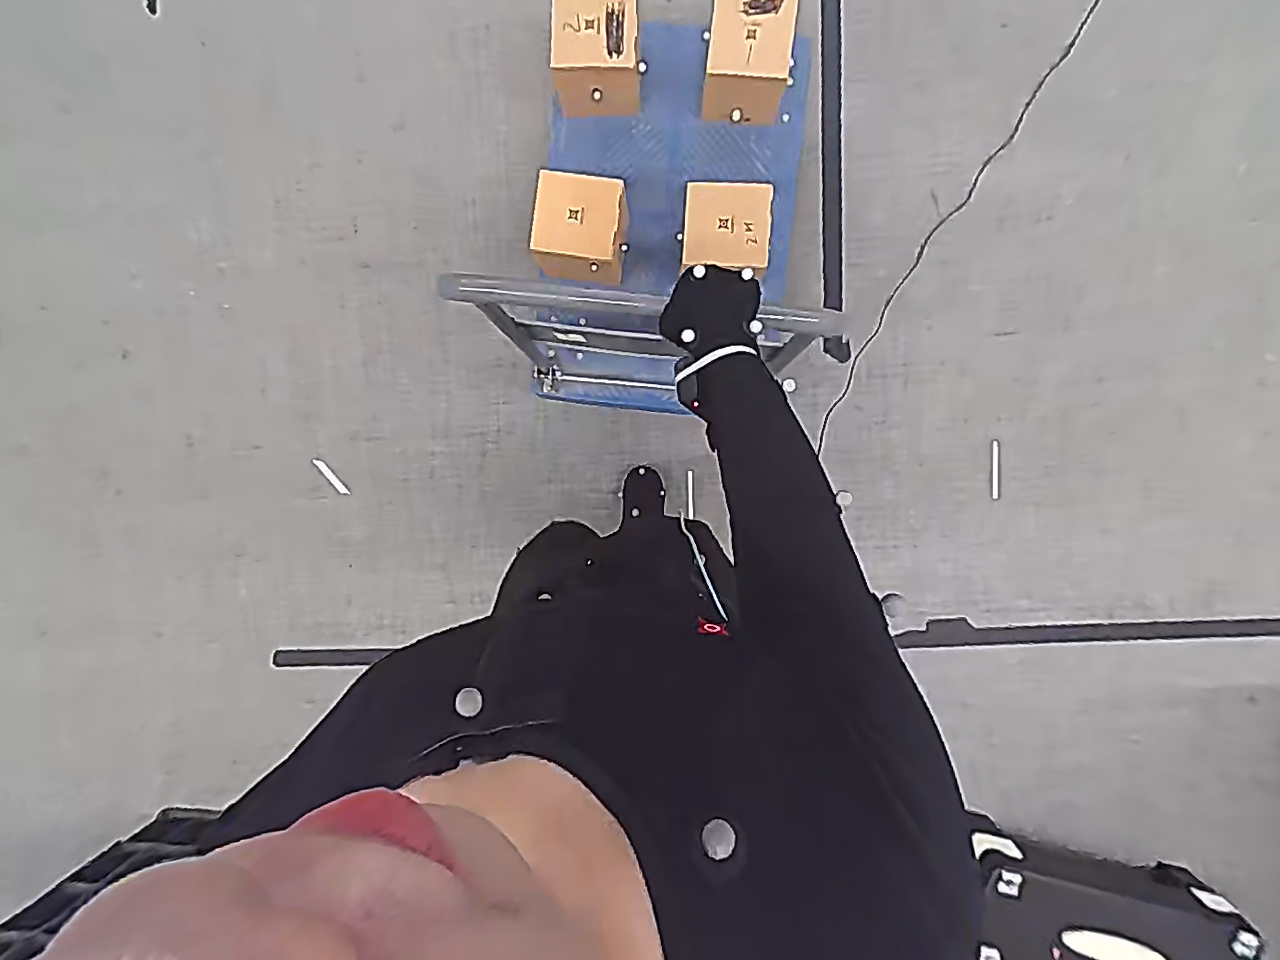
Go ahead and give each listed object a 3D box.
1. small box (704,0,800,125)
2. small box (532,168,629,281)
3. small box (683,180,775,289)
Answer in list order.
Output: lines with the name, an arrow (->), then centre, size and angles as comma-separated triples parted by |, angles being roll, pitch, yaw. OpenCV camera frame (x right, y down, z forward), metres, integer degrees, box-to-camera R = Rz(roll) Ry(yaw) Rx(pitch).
small box -> 0.230, -0.897, 1.146 | 0.168, 0.176, 0.179 | 7, 95, 3
small box -> -0.123, -0.551, 1.188 | 0.179, 0.176, 0.168 | 8, 93, 1
small box -> 0.185, -0.523, 1.170 | 0.179, 0.176, 0.168 | 4, 94, 3
